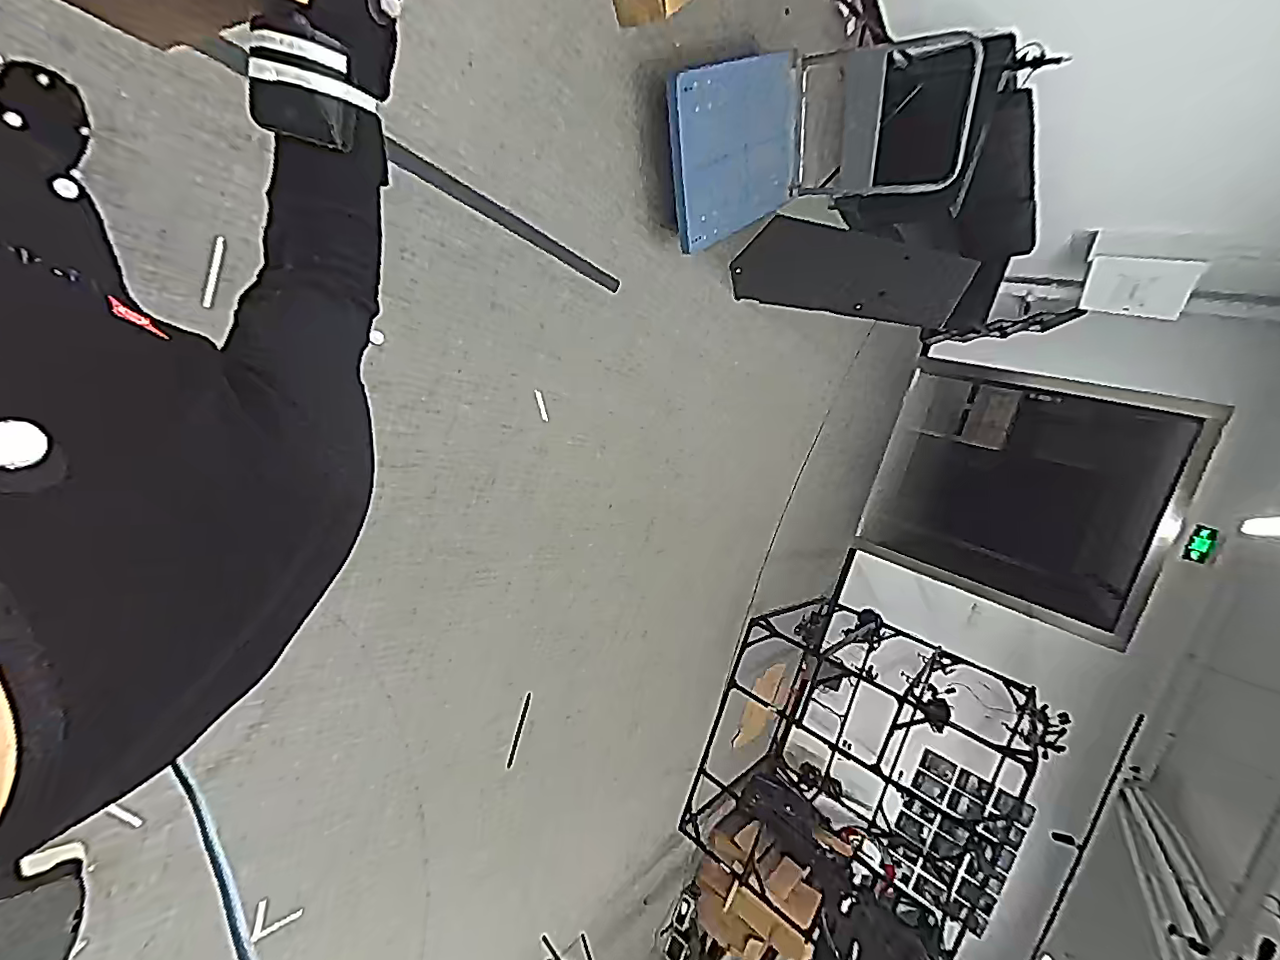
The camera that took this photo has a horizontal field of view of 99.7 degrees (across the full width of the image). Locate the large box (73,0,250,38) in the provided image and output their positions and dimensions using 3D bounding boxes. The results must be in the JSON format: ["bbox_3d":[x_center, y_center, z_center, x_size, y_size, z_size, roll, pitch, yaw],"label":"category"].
[{"bbox_3d":[-0.400,-0.492,0.223,0.408,0.320,0.320,1,110,-55],"label":"large box"}]
